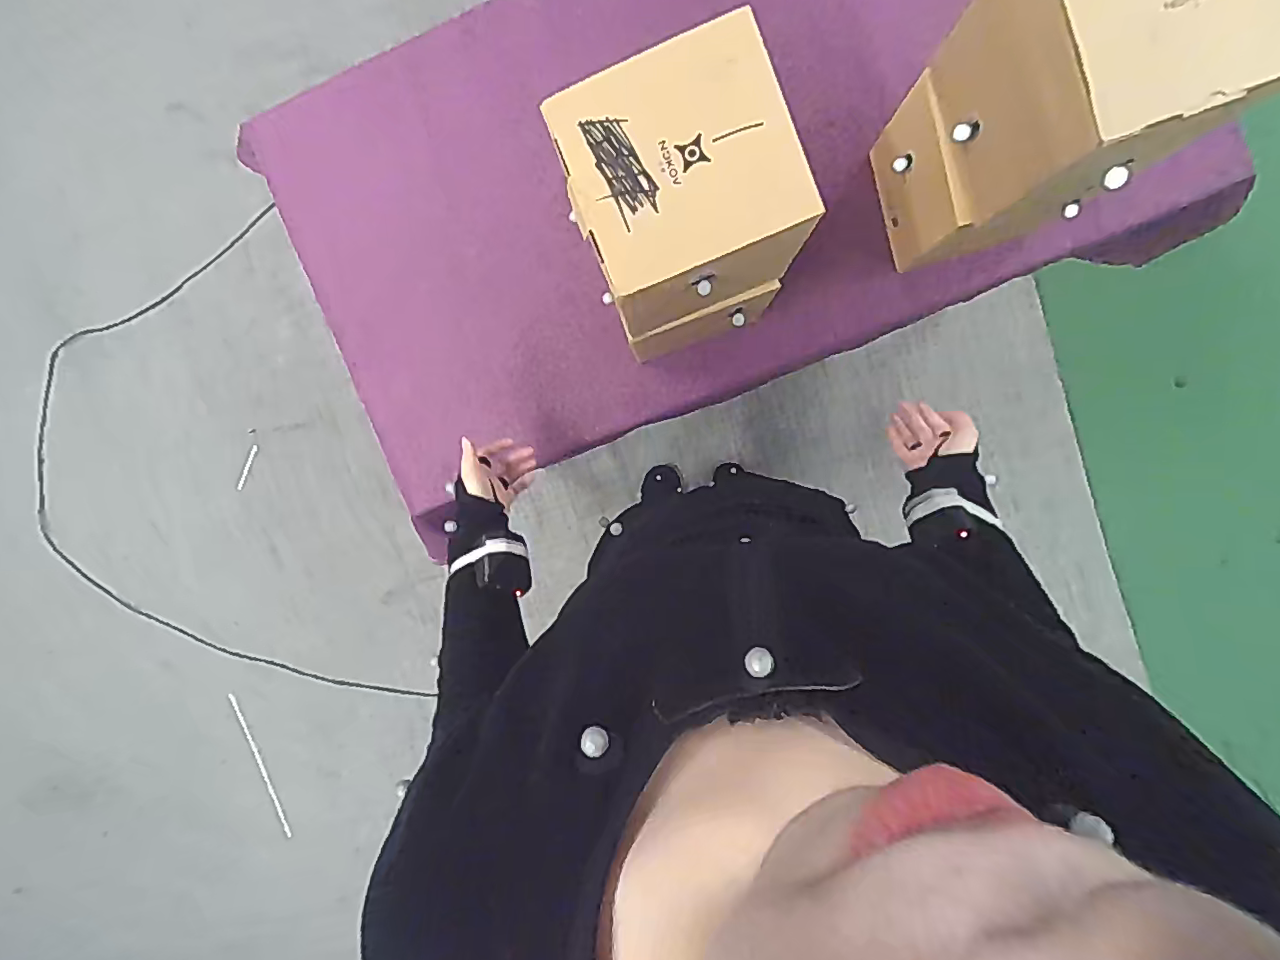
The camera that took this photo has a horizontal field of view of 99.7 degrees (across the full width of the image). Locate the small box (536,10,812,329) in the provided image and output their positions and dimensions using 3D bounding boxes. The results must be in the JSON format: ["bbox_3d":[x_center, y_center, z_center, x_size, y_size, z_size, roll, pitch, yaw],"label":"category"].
[{"bbox_3d":[0.031,-0.257,0.498,0.179,0.176,0.168,-21,93,4],"label":"small box"}]

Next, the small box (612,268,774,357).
[{"bbox_3d":[0.043,-0.264,0.663,0.179,0.176,0.168,-18,93,5],"label":"small box"}]

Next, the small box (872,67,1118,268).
[{"bbox_3d":[0.392,-0.370,0.633,0.179,0.176,0.168,-14,94,4],"label":"small box"}]

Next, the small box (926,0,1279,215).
[{"bbox_3d":[0.384,-0.358,0.469,0.168,0.176,0.179,-18,94,4],"label":"small box"}]
